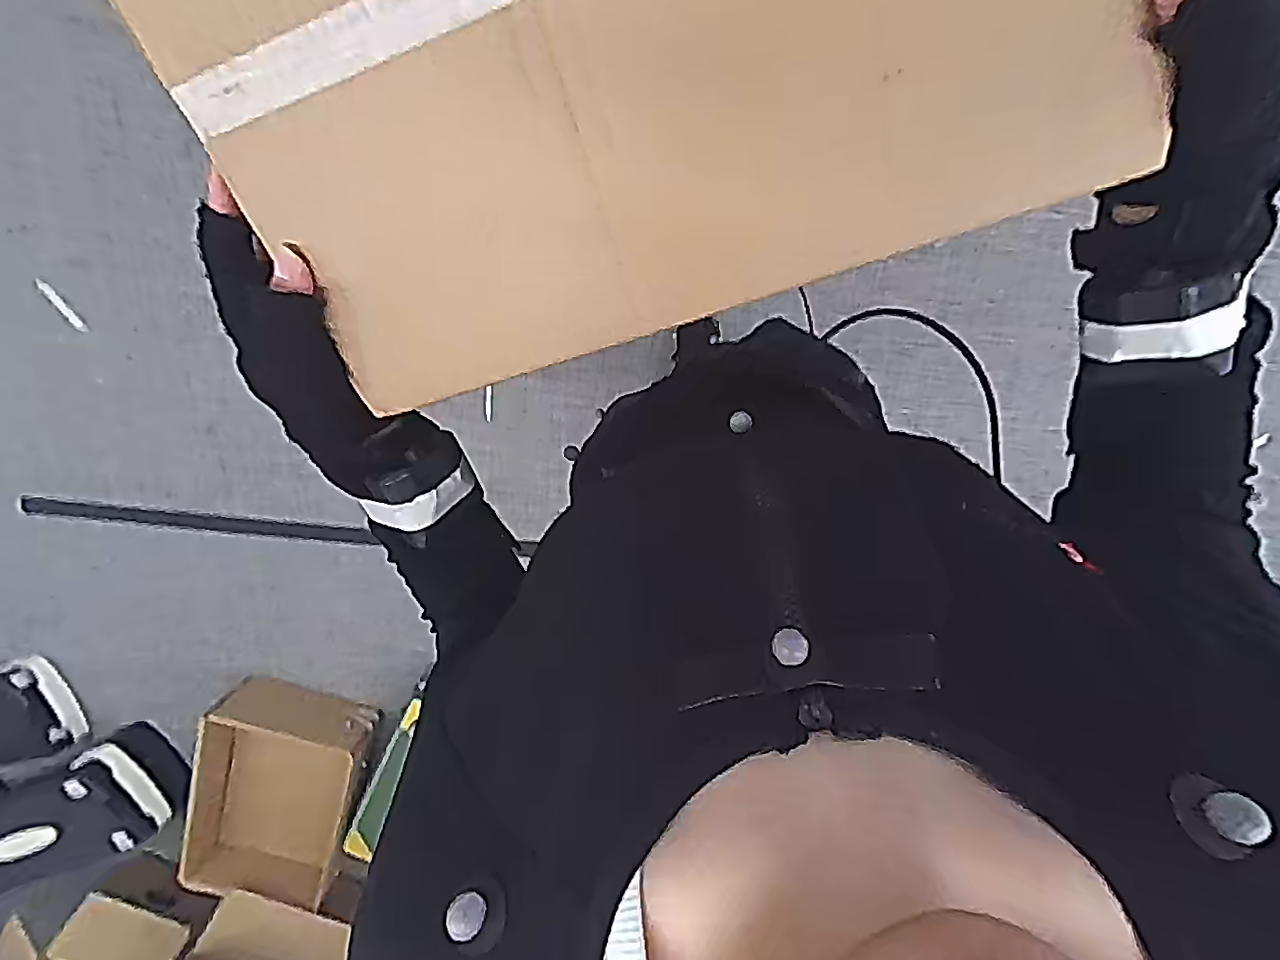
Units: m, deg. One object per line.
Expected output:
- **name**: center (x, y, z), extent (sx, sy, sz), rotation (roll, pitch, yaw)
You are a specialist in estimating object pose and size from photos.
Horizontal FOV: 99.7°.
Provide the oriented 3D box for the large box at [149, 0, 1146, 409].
- **large box**: center (-0.001, -0.292, 0.345), extent (0.408, 0.320, 0.320), rotation (-14, 118, 11)
